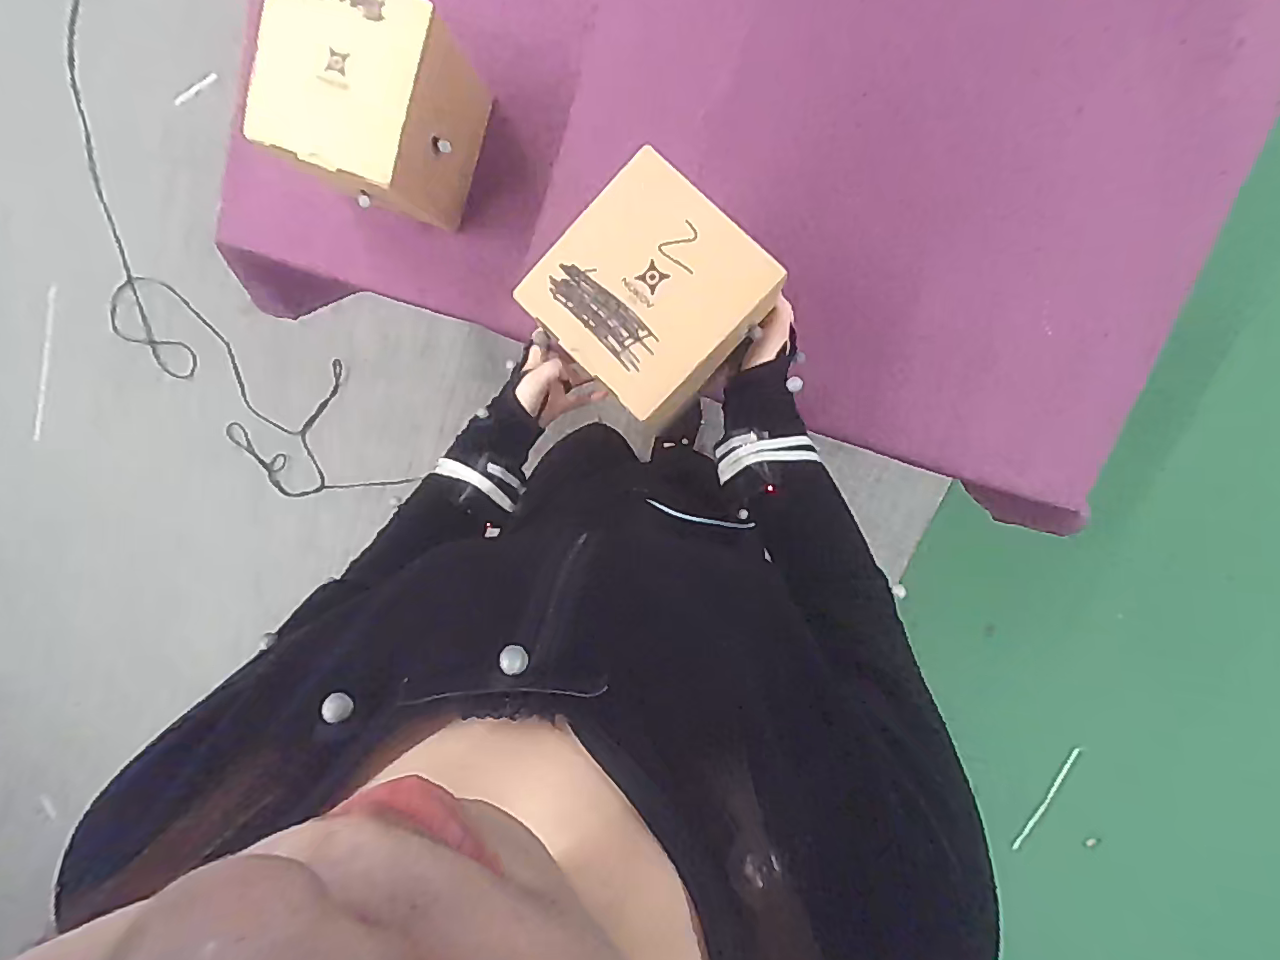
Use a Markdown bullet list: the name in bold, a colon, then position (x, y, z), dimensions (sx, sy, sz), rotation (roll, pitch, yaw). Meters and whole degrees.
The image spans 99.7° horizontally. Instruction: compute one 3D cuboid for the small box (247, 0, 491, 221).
- **small box**: position (-0.288, -0.421, 0.609), dimensions (0.168, 0.176, 0.179), rotation (21, 102, 0)
